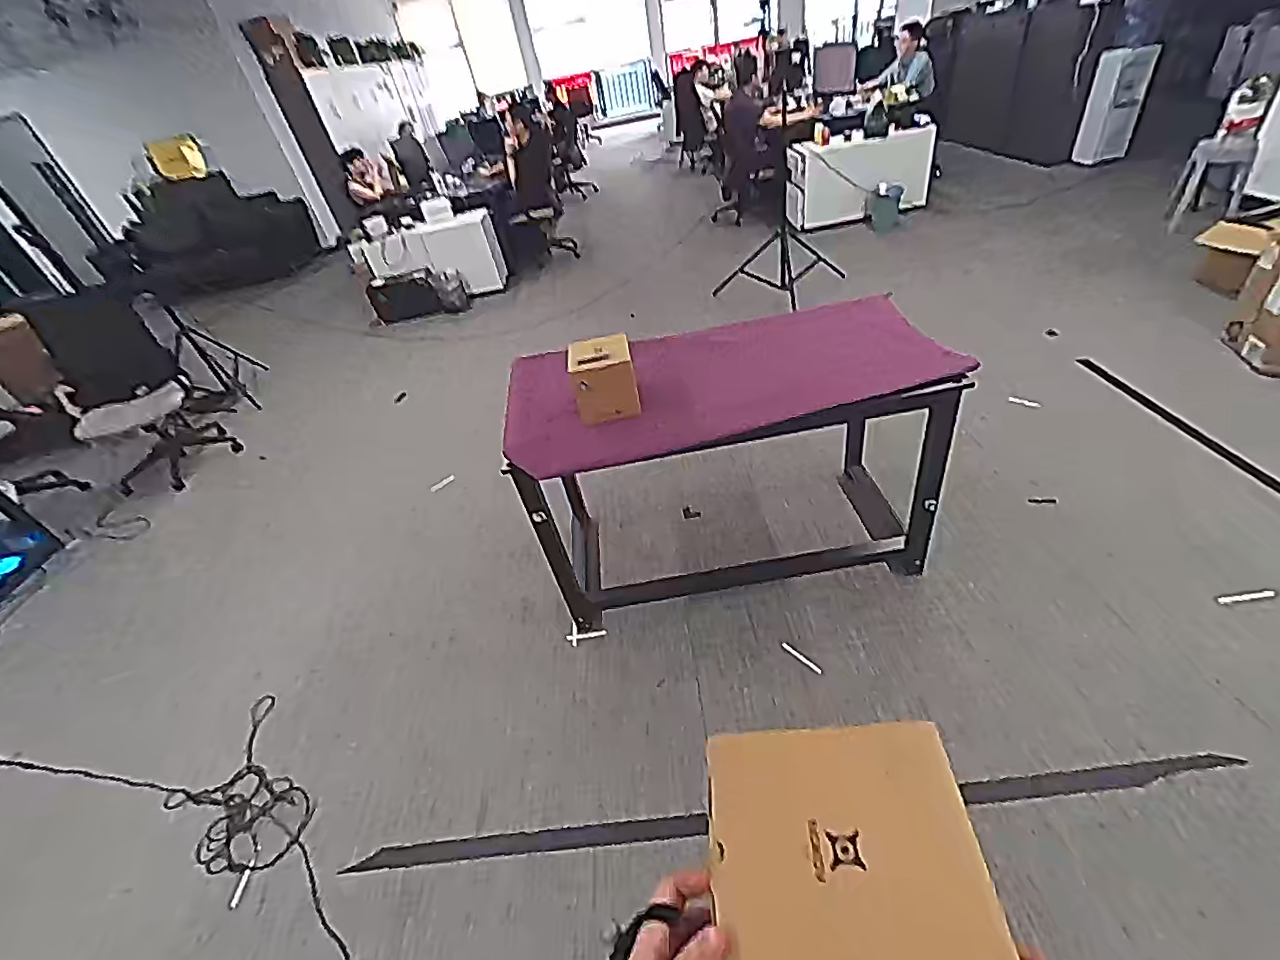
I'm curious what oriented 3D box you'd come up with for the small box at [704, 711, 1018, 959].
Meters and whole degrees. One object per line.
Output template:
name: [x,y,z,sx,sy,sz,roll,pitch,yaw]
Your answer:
small box: [0.152,0.300,0.415,0.179,0.176,0.168,-11,38,13]
